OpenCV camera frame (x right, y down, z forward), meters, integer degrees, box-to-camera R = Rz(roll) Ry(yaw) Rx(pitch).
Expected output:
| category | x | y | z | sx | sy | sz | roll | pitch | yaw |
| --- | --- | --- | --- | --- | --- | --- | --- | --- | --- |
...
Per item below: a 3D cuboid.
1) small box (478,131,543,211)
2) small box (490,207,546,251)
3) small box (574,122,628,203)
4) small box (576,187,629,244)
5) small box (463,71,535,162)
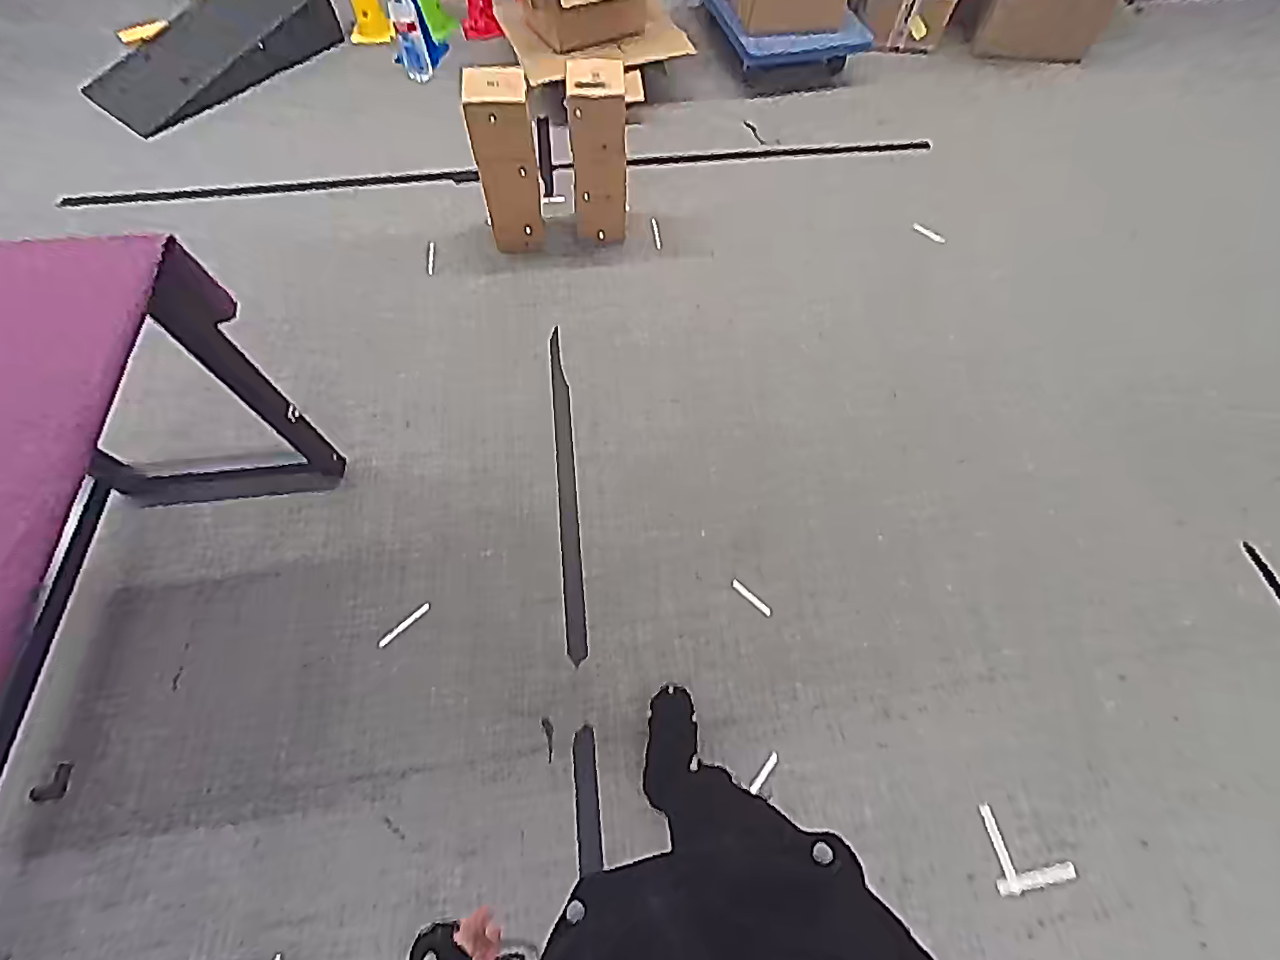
| category | x | y | z | sx | sy | sz | roll | pitch | yaw |
| --- | --- | --- | --- | --- | --- | --- | --- | --- | --- |
| small box | -0.410 | -0.980 | 1.721 | 0.179 | 0.176 | 0.168 | -5 | 64 | -6 |
| small box | -0.421 | -0.913 | 1.869 | 0.168 | 0.176 | 0.179 | -6 | 63 | -7 |
| small box | -0.124 | -1.022 | 1.750 | 0.168 | 0.176 | 0.179 | -2 | 63 | -4 |
| small box | -0.133 | -0.952 | 1.900 | 0.179 | 0.176 | 0.168 | -1 | 64 | -4 |
| small box | -0.404 | -1.054 | 1.574 | 0.179 | 0.176 | 0.168 | -4 | 64 | -6 |
